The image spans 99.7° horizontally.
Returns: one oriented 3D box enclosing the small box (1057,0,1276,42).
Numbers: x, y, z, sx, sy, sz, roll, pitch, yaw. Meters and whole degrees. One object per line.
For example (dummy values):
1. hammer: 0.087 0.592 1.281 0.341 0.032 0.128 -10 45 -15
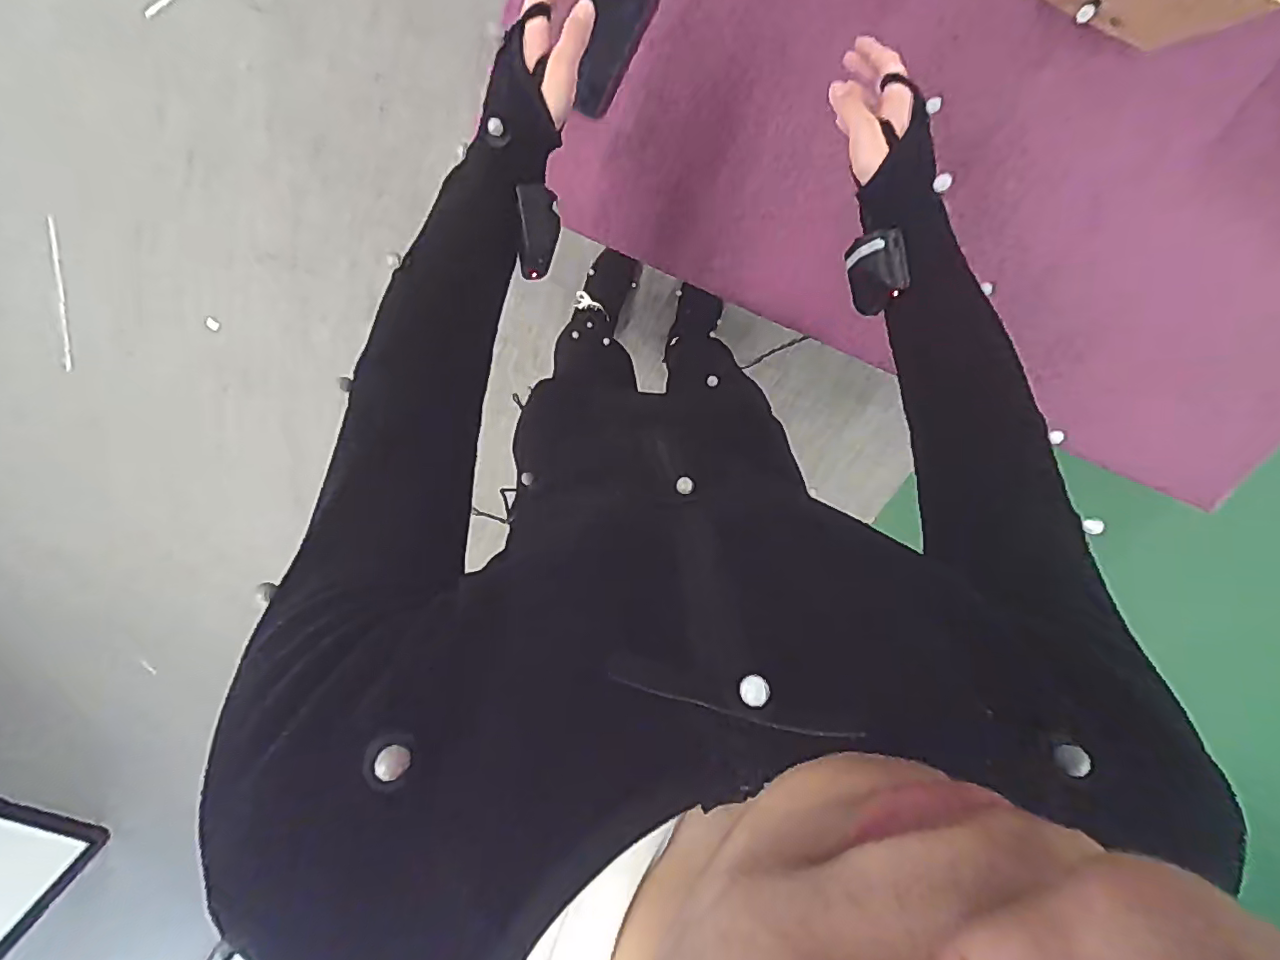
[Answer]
1. small box: 0.506 -0.538 0.475 0.168 0.176 0.179 21 117 -5
